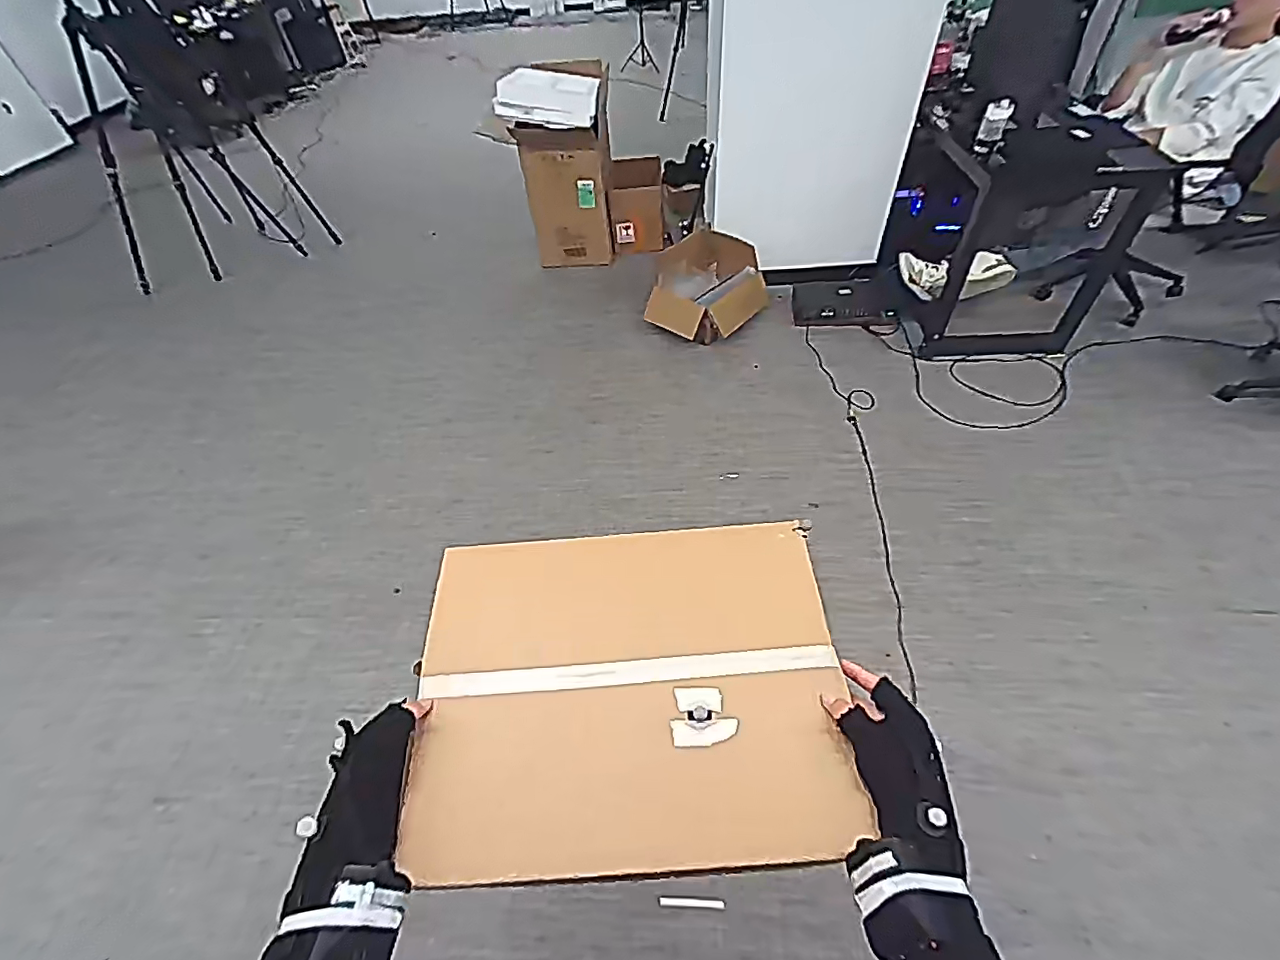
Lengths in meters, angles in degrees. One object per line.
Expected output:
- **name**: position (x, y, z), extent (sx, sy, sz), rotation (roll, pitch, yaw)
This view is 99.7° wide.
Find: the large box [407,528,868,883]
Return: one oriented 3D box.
- **large box**: position (-0.006, 0.285, 0.663), extent (0.408, 0.320, 0.320), rotation (-5, 54, 0)
